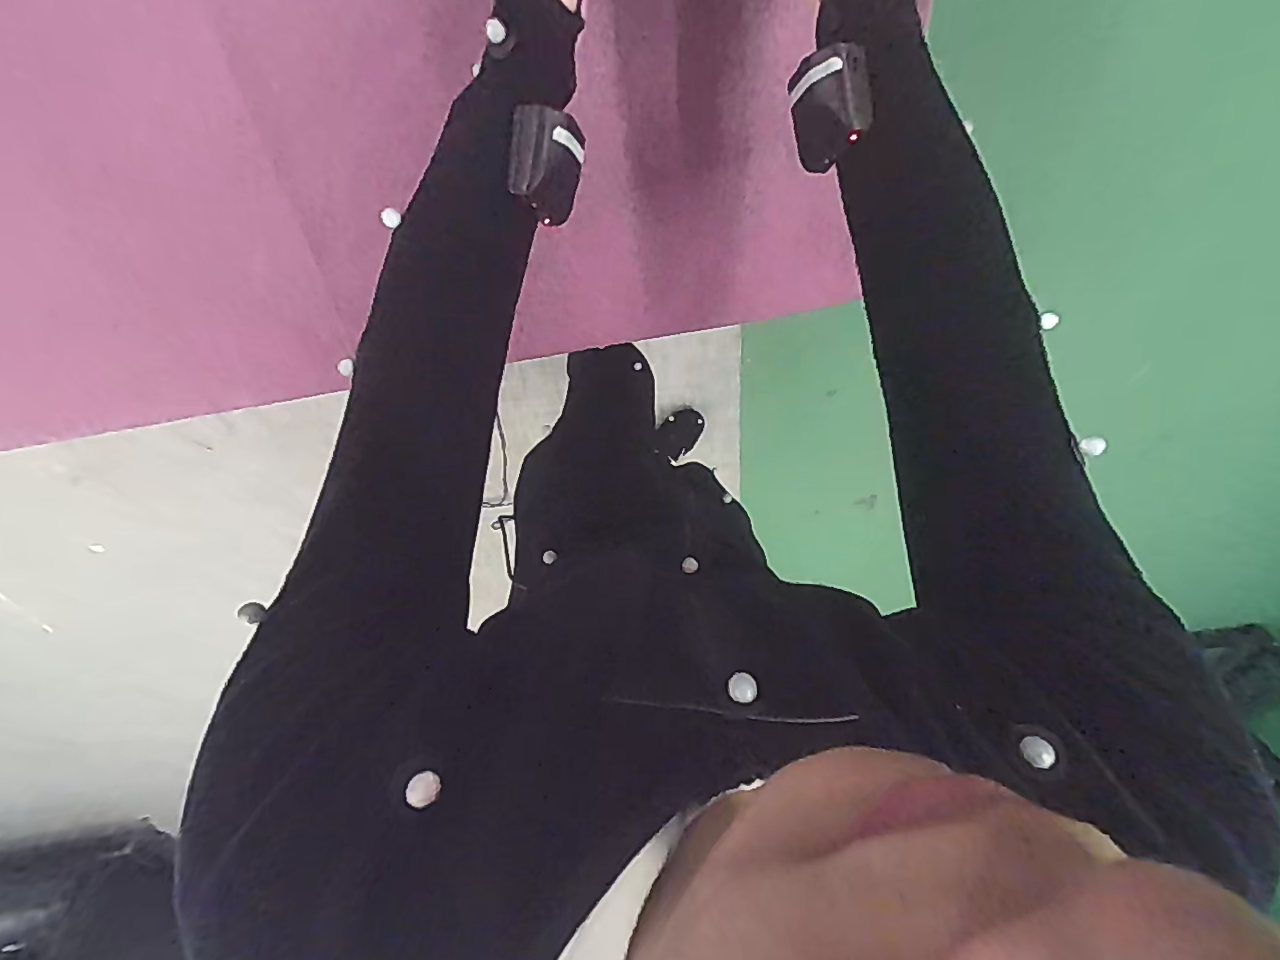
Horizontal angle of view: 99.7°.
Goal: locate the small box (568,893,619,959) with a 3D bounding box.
[{"bbox_3d":[-0.162,1.596,1.917,0.168,0.176,0.179,-5,129,-3],"label":"small box"}]
